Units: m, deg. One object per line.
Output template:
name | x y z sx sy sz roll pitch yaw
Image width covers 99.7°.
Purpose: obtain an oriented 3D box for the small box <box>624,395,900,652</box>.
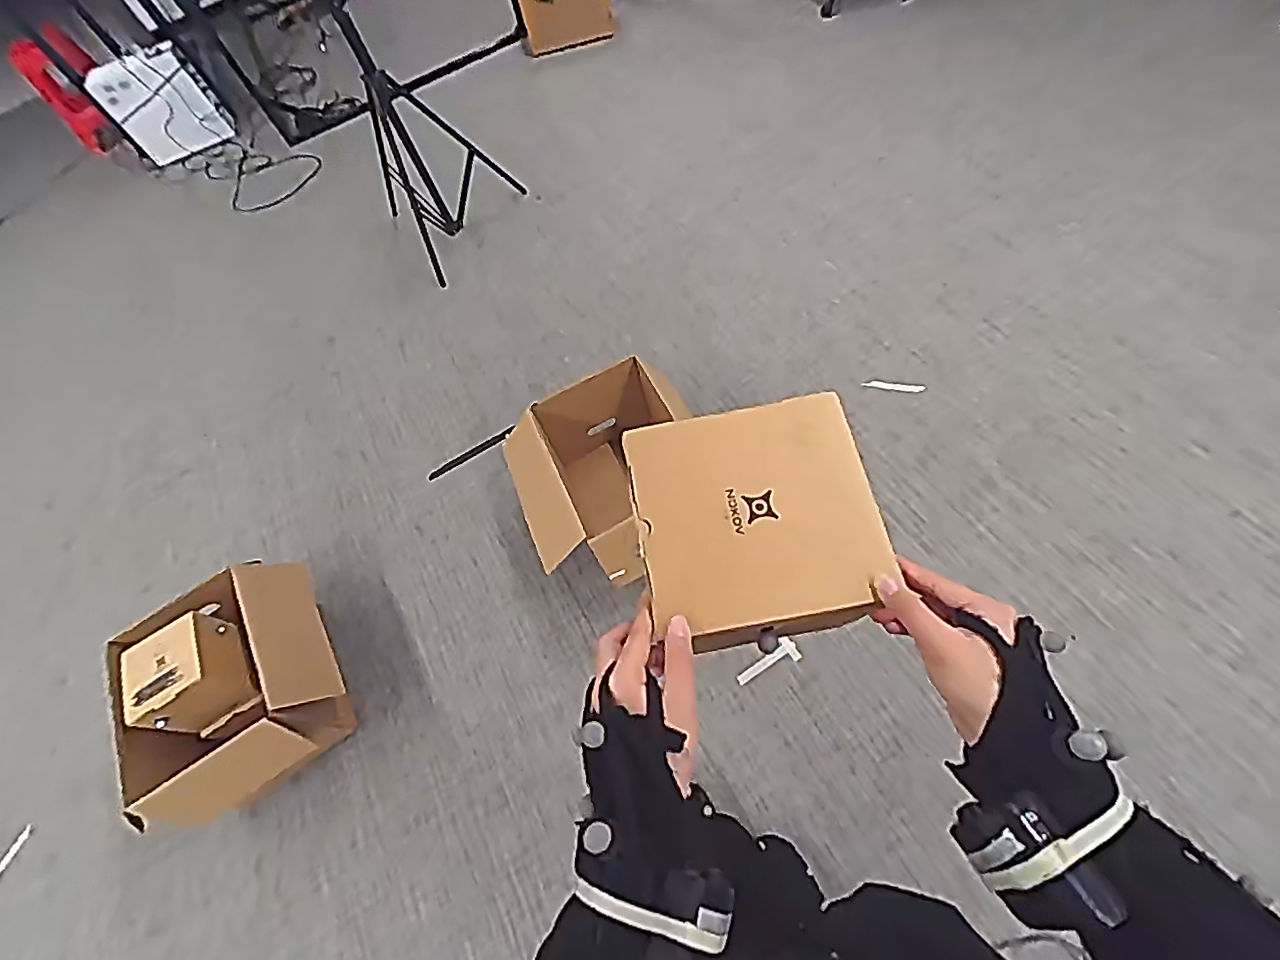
small box | 0.090 0.050 0.478 0.179 0.176 0.168 -11 67 1
